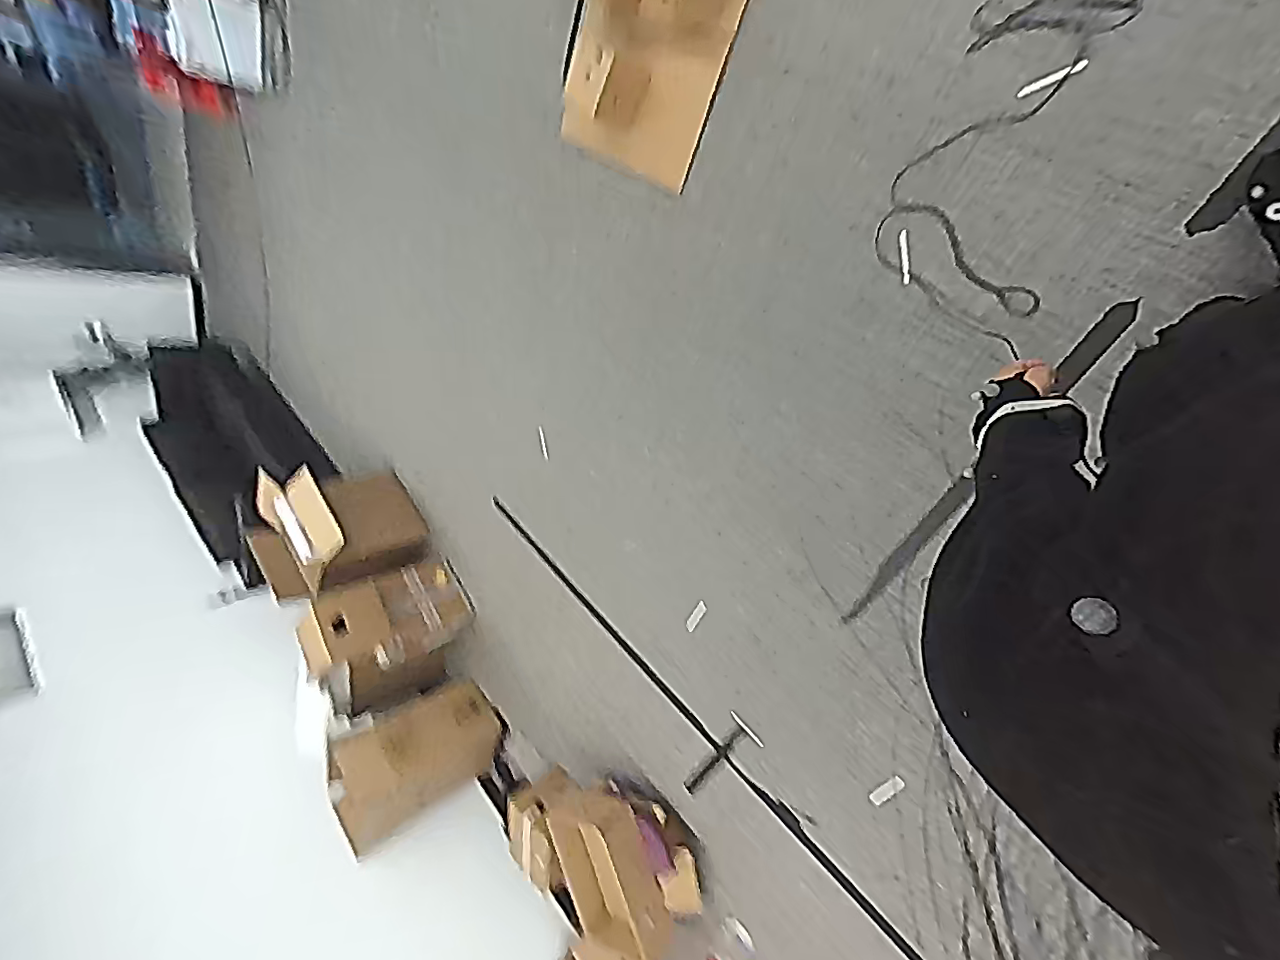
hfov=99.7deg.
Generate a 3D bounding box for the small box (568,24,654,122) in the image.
[{"bbox_3d":[-0.086,-1.239,1.658,0.168,0.176,0.179,49,131,20],"label":"small box"}]
